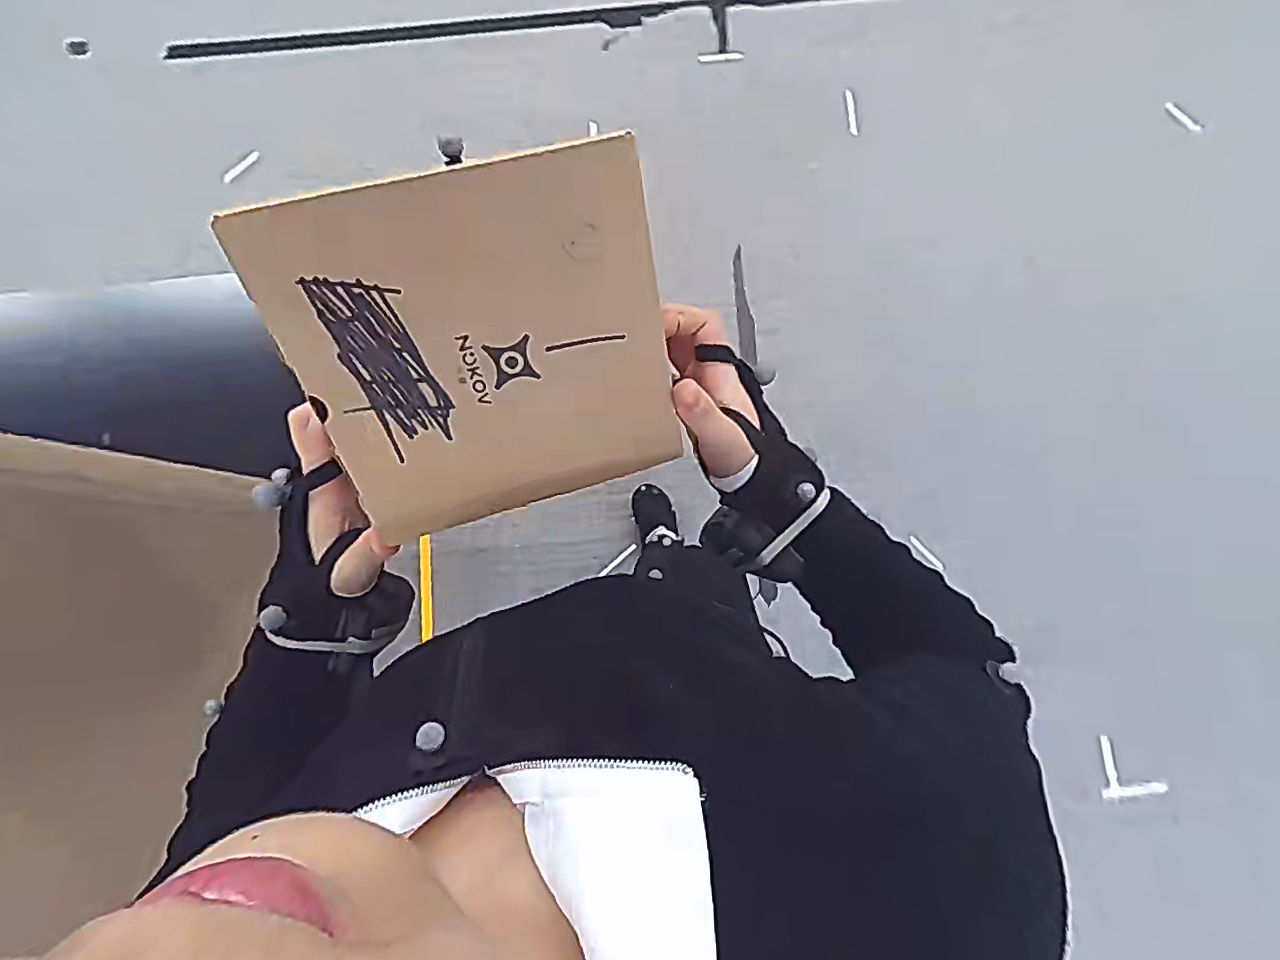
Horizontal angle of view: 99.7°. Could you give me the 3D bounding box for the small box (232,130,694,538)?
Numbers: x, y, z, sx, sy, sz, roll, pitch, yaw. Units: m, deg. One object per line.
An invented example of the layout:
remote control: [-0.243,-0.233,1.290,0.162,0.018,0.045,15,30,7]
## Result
small box: [-0.082,-0.096,0.325,0.179,0.176,0.168,-15,122,-7]
